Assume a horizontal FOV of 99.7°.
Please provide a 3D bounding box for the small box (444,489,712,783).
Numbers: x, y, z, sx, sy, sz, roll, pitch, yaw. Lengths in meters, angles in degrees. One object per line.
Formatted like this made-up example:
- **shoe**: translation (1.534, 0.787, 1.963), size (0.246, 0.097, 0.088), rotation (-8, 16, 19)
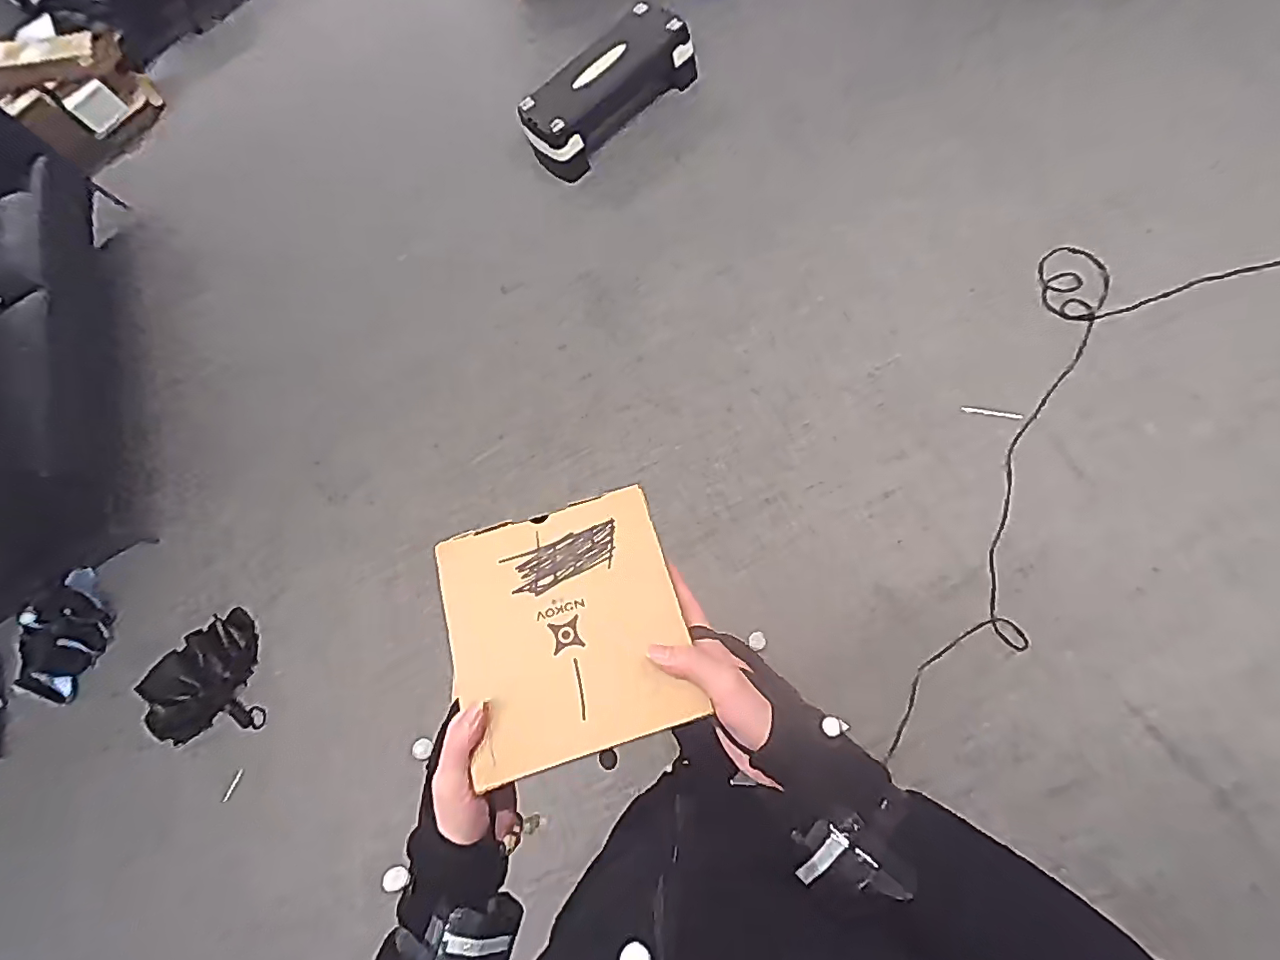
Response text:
- **small box**: translation (-0.050, 0.135, 0.464), size (0.168, 0.176, 0.179), rotation (-16, 67, -5)
